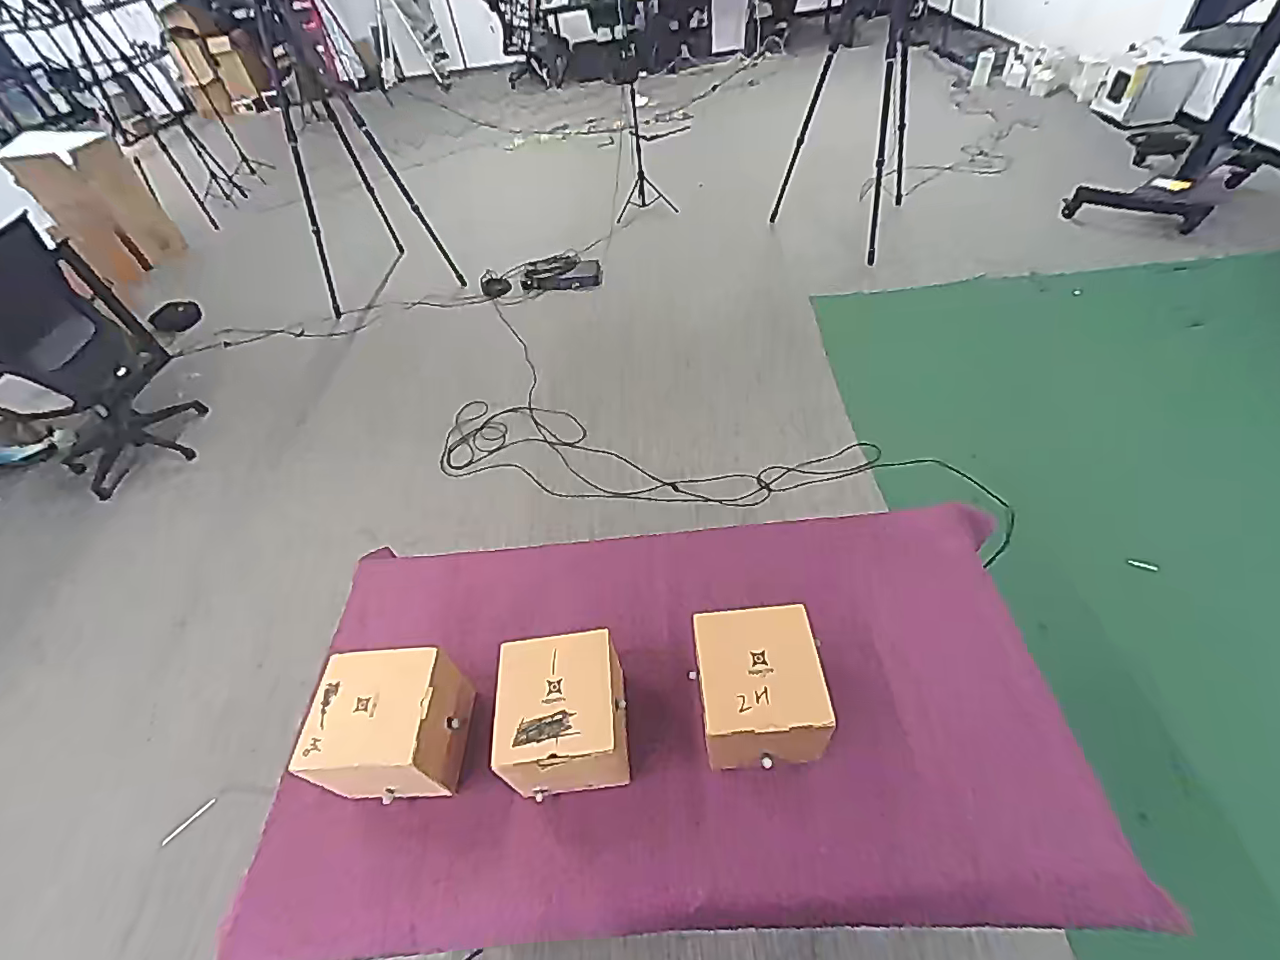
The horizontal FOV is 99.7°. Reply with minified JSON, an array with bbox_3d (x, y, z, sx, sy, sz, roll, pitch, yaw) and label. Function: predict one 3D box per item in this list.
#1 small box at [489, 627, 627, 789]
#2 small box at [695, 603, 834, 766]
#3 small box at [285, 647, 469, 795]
[{"bbox_3d":[-0.113,0.346,0.807,0.168,0.176,0.179,-8,47,1],"label":"small box"},{"bbox_3d":[0.171,0.305,0.804,0.168,0.176,0.179,-6,48,3],"label":"small box"},{"bbox_3d":[-0.380,0.368,0.823,0.179,0.176,0.168,-3,48,3],"label":"small box"}]
